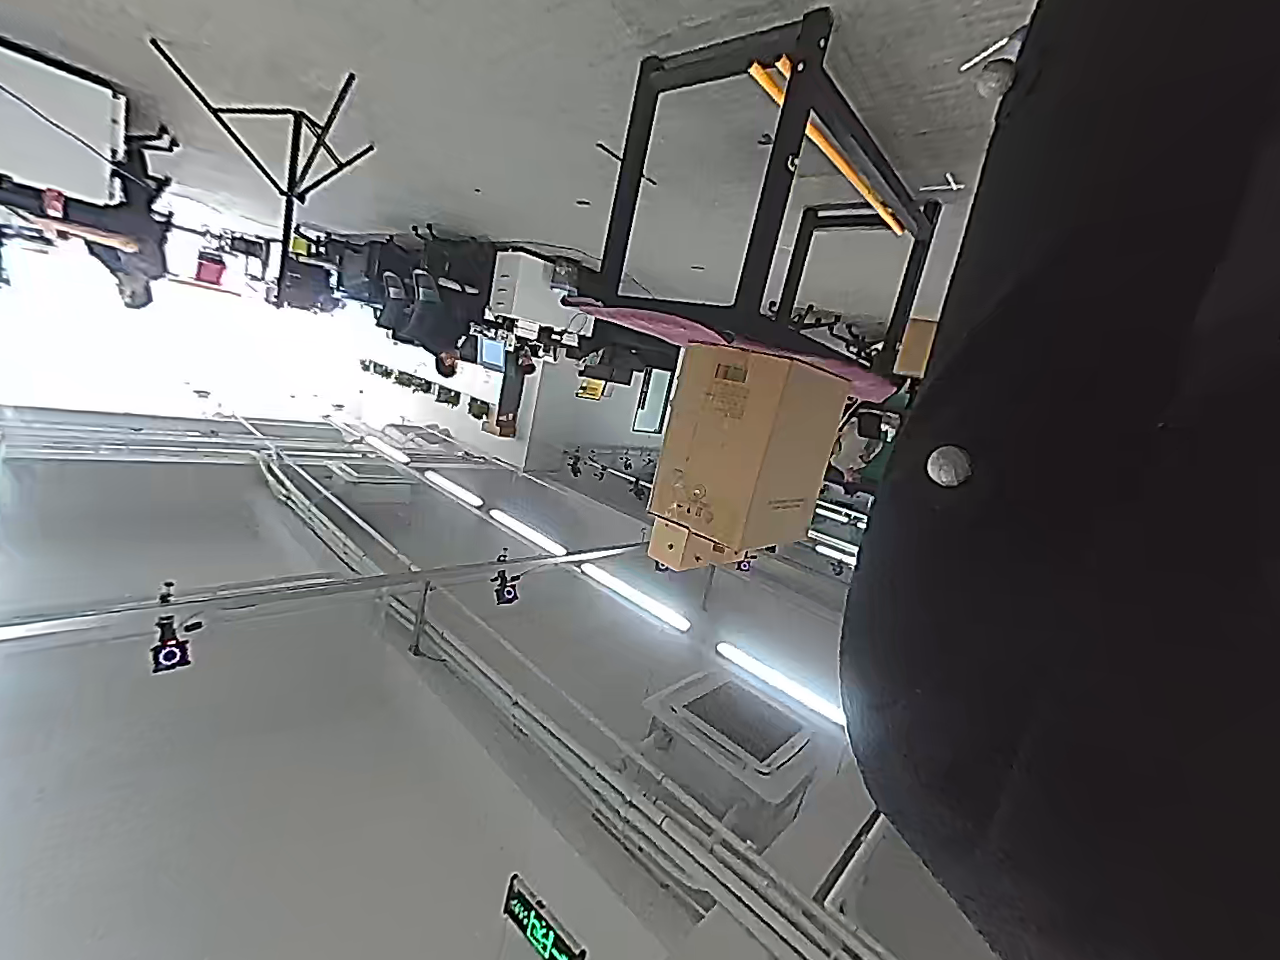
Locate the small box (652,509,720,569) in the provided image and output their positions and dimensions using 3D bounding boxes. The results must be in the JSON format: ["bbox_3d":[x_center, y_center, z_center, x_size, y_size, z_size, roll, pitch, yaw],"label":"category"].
[{"bbox_3d":[0.173,0.212,2.001,0.179,0.176,0.168,-2,-162,-44],"label":"small box"}]

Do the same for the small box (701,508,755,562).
[{"bbox_3d":[0.342,0.214,2.178,0.168,0.176,0.179,20,-168,40],"label":"small box"}]
